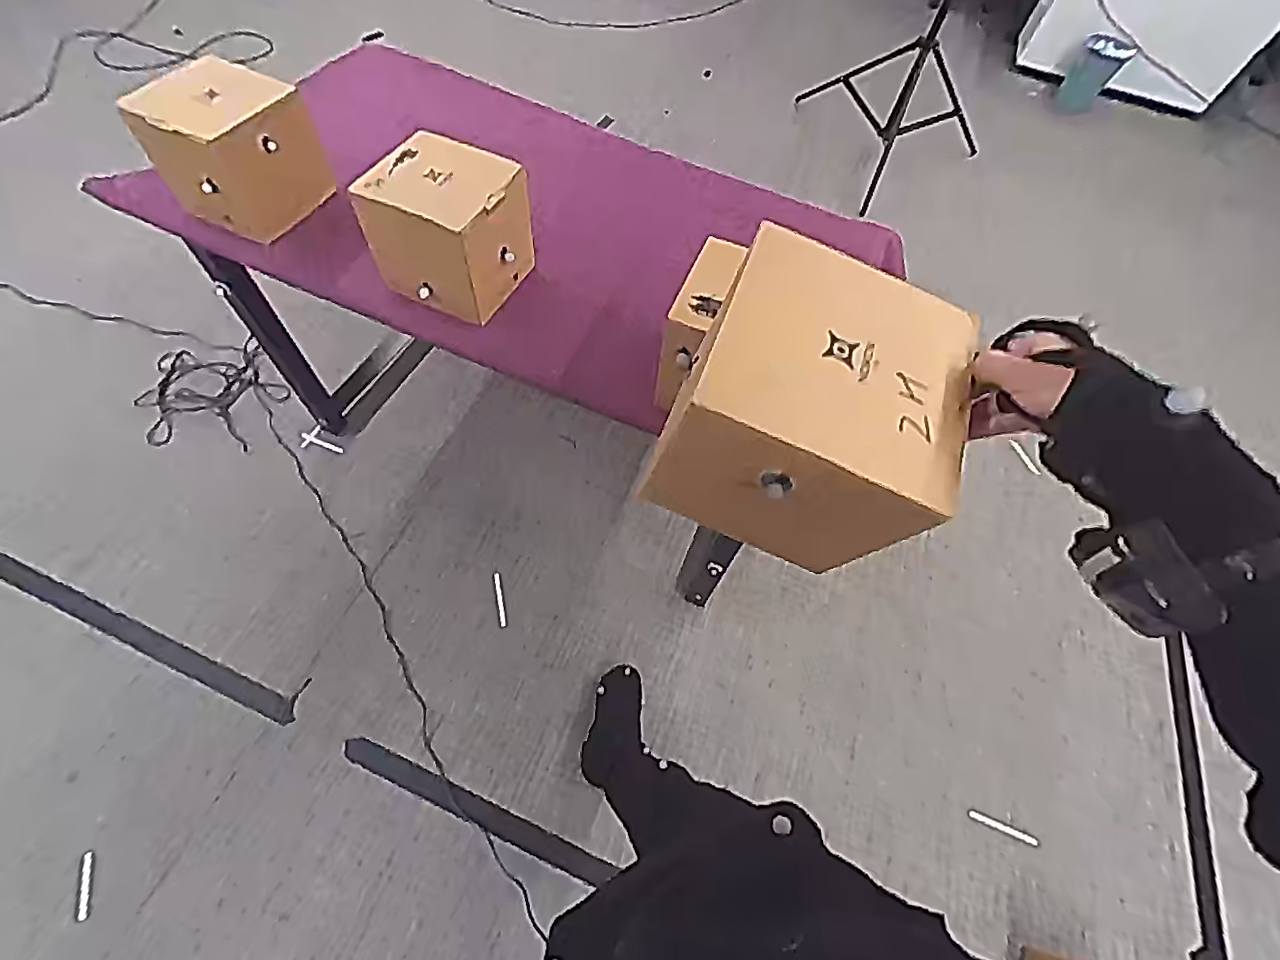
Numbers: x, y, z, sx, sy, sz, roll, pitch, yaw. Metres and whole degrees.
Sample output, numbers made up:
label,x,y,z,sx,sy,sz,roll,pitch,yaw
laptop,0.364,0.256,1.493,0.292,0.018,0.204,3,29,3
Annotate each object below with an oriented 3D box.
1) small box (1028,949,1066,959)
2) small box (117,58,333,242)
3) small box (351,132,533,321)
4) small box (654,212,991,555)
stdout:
label,x,y,z,sx,sy,sz,roll,pitch,yaw
small box,0.828,1.008,0.981,0.168,0.176,0.179,27,62,9
small box,-0.624,-0.508,0.846,0.168,0.176,0.179,24,60,6
small box,-0.273,-0.364,0.799,0.179,0.176,0.168,24,62,7
small box,0.126,-0.058,0.421,0.179,0.176,0.168,24,66,-2
